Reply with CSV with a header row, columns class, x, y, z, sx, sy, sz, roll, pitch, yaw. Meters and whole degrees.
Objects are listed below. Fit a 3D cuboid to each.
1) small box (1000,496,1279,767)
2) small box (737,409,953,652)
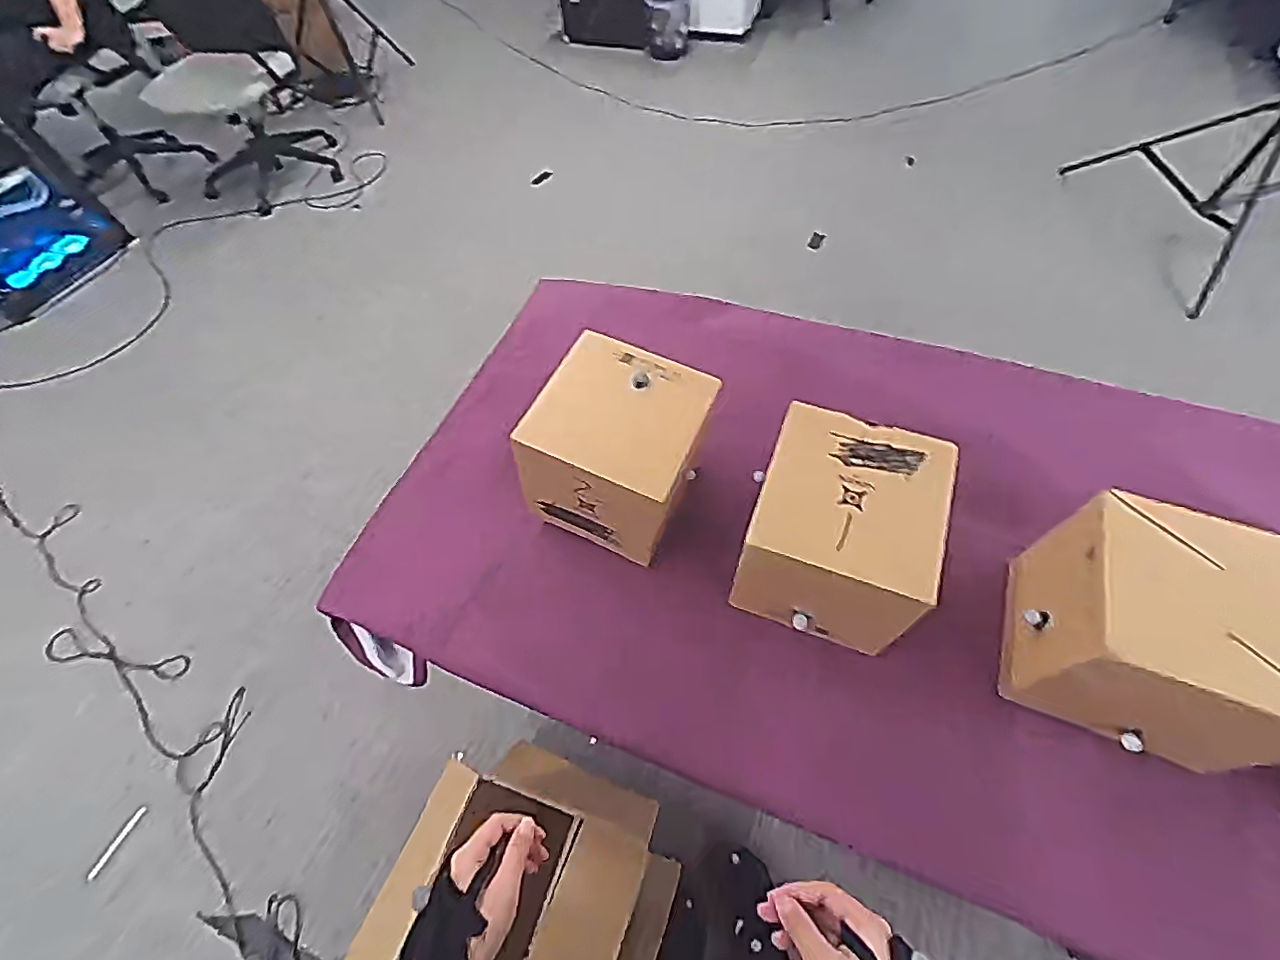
class,x,y,z,sx,sy,sz,roll,pitch,yaw
small box,0.476,0.139,0.507,0.179,0.176,0.168,18,59,16
small box,0.210,0.058,0.583,0.168,0.176,0.179,17,60,15
